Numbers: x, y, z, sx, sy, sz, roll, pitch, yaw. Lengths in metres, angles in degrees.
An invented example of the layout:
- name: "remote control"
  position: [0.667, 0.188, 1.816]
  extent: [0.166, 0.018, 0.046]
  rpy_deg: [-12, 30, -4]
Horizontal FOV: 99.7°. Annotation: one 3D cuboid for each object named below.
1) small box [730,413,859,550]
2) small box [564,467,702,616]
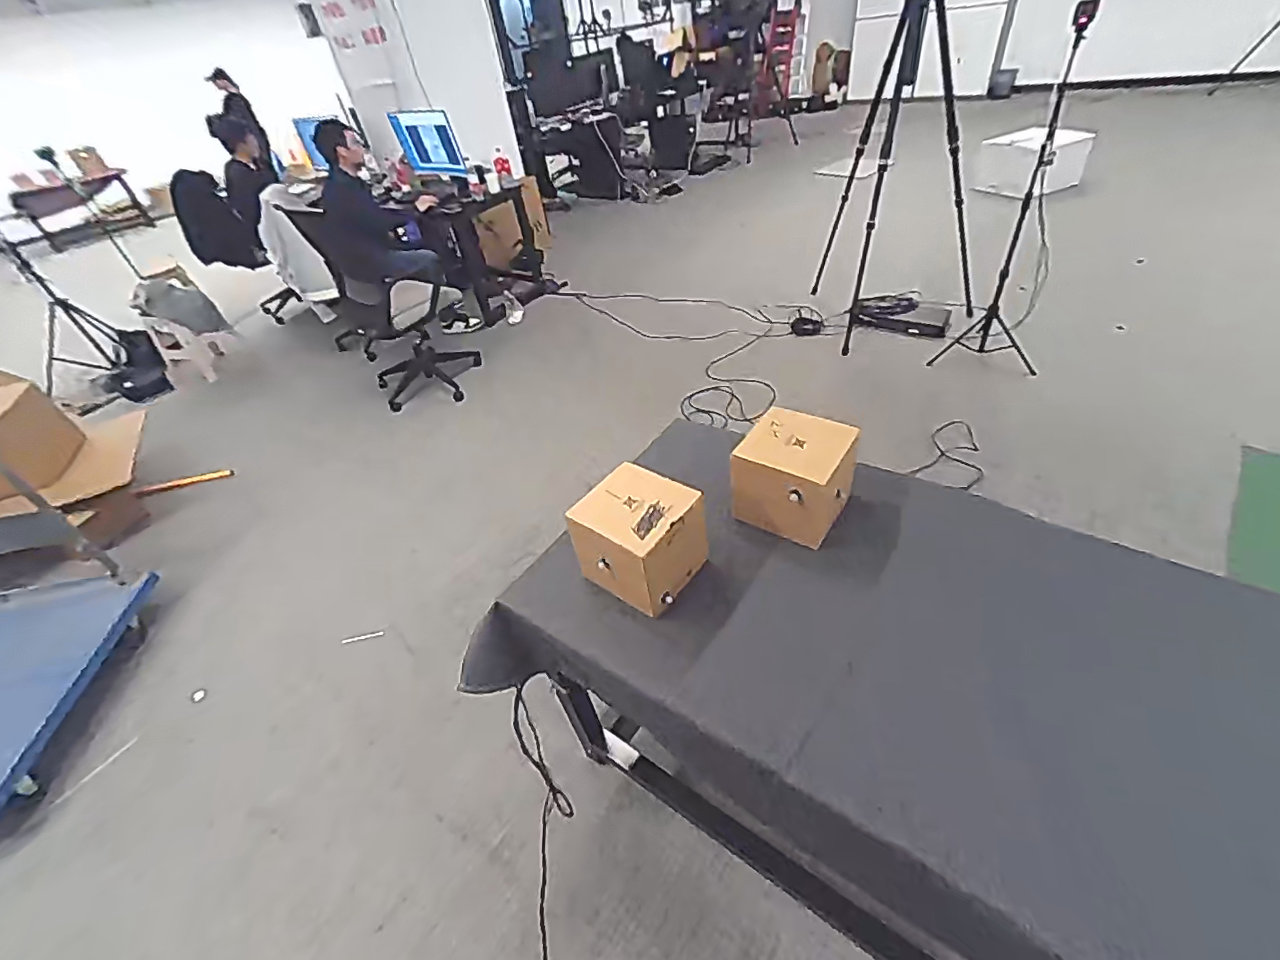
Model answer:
- name: "small box"
  position: [0.286, 0.005, 1.016]
  extent: [0.179, 0.176, 0.168]
  rpy_deg: [22, 50, 31]
- name: "small box"
  position: [-0.003, 0.112, 0.954]
  extent: [0.179, 0.176, 0.168]
  rpy_deg: [24, 50, 33]
